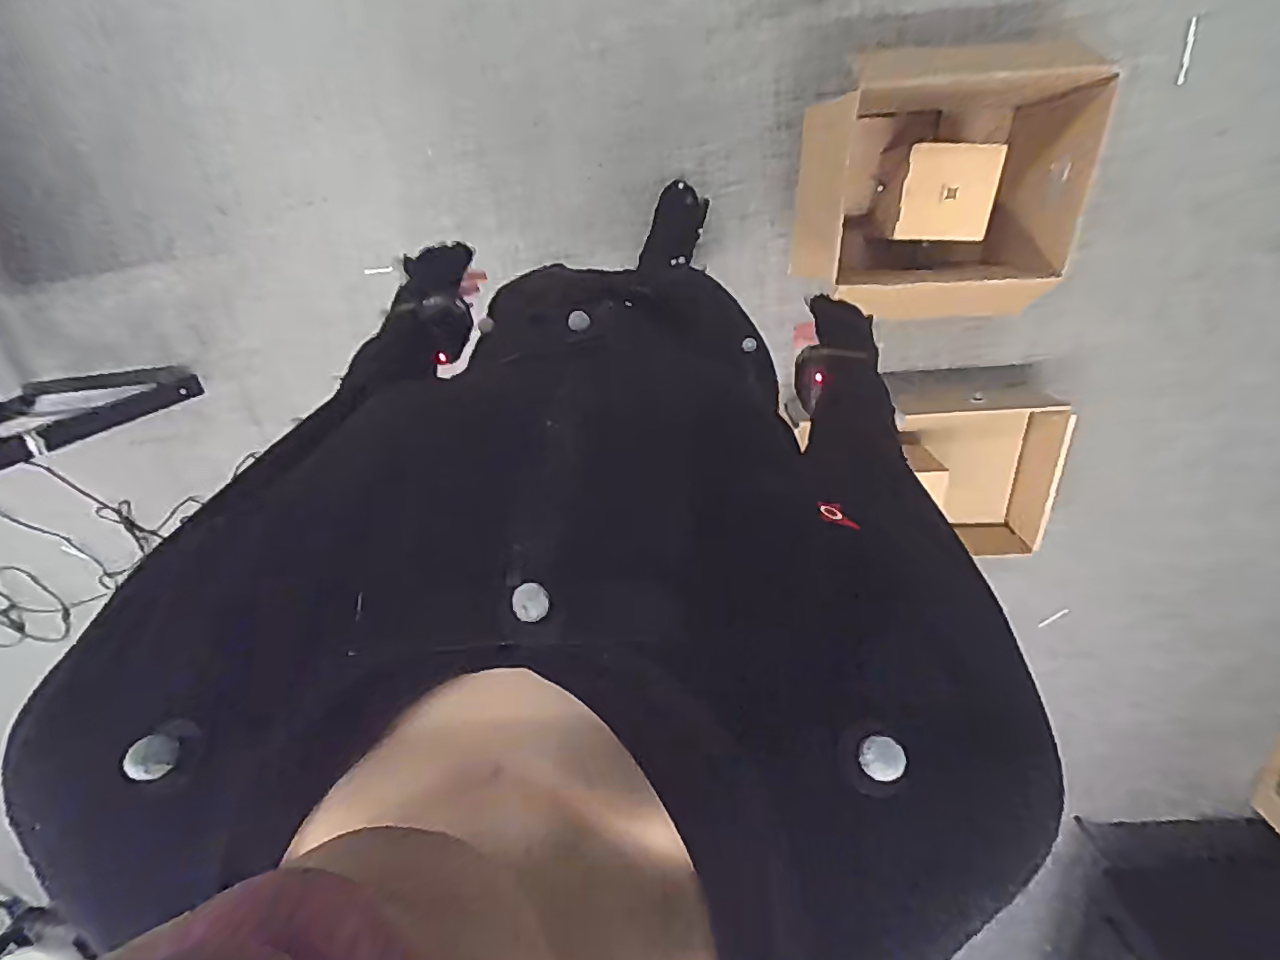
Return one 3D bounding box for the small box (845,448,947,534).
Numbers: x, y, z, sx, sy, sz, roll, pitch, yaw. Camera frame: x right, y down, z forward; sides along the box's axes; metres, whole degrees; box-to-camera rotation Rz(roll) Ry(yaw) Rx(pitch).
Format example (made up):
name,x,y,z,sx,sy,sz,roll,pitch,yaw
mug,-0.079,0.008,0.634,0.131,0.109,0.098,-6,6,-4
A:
name,x,y,z,sx,sy,sz,roll,pitch,yaw
small box,0.634,0.024,1.363,0.179,0.176,0.168,-1,116,3
